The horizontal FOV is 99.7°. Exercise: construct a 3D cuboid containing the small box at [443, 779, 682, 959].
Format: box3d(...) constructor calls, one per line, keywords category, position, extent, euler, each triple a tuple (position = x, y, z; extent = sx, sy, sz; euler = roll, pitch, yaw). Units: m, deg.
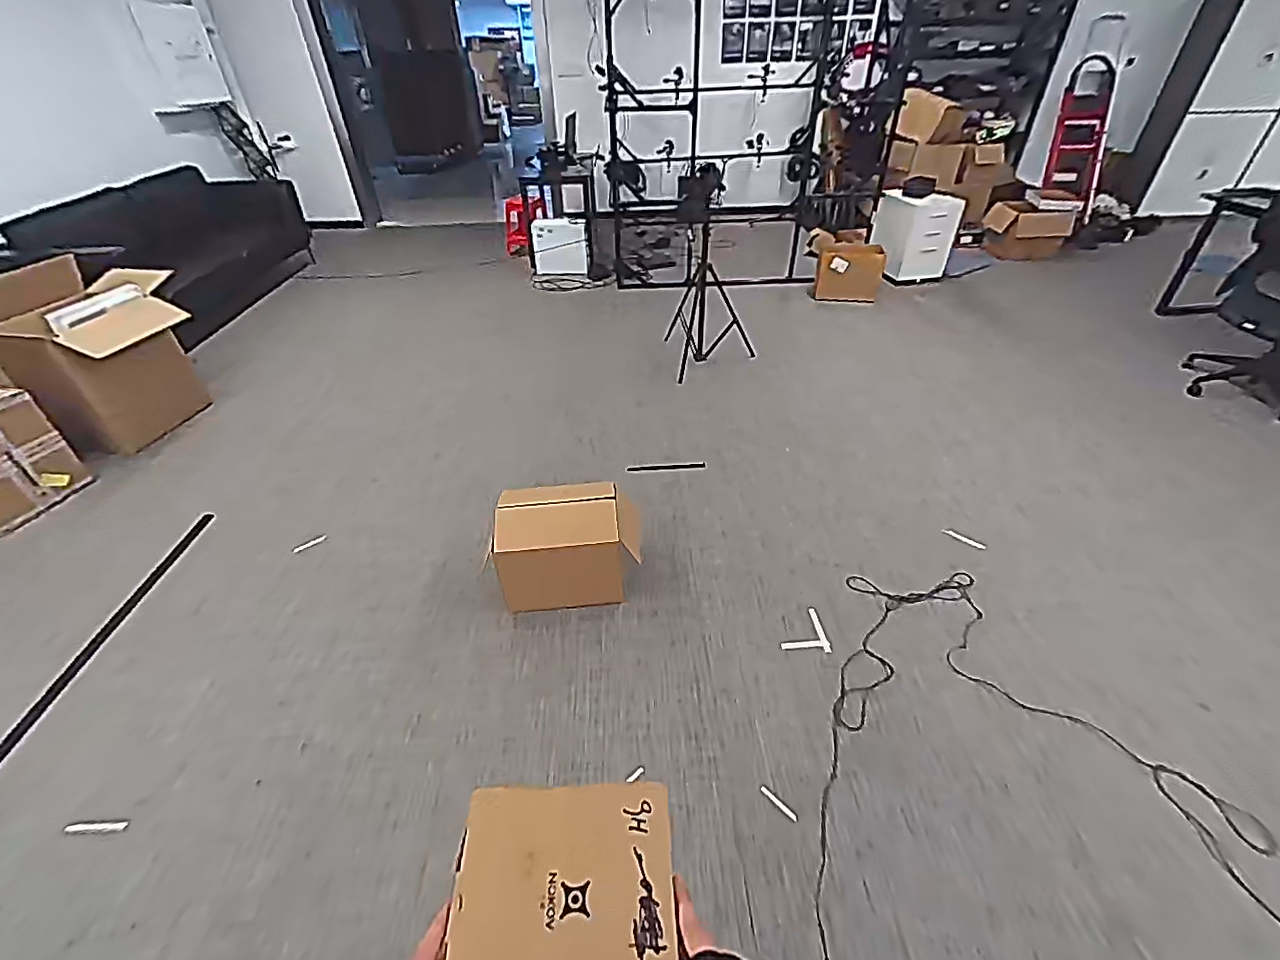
box3d(category="small box", position=(-0.059, 0.382, 0.472), extent=(0.179, 0.176, 0.168), euler=(0, 43, -3))
